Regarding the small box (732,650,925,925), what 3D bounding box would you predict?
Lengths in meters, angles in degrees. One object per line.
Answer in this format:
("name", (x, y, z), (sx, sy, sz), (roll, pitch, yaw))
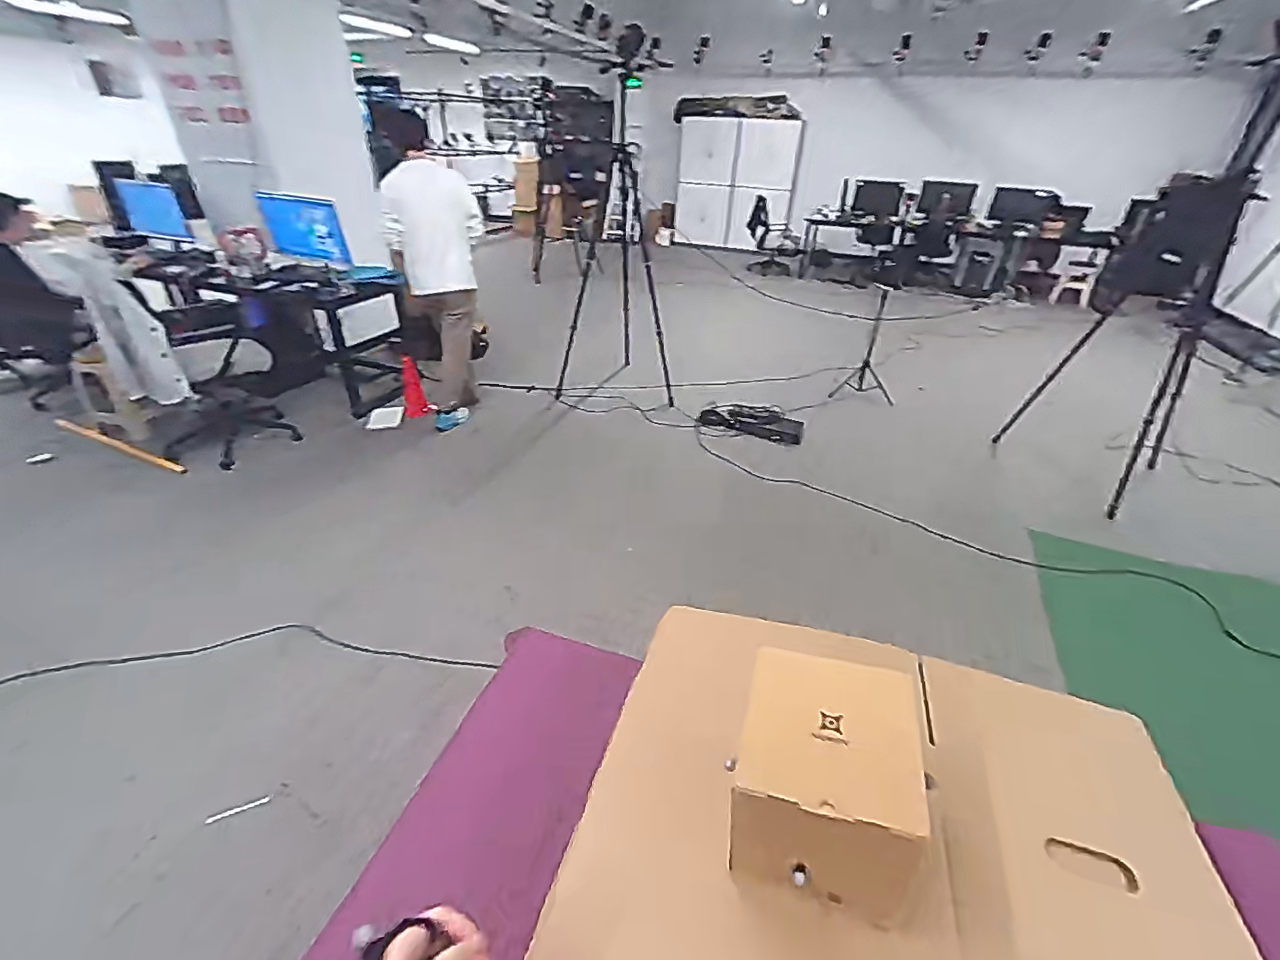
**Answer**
("small box", (0.194, 0.320, 0.582), (0.168, 0.176, 0.179), (6, 33, 18))
